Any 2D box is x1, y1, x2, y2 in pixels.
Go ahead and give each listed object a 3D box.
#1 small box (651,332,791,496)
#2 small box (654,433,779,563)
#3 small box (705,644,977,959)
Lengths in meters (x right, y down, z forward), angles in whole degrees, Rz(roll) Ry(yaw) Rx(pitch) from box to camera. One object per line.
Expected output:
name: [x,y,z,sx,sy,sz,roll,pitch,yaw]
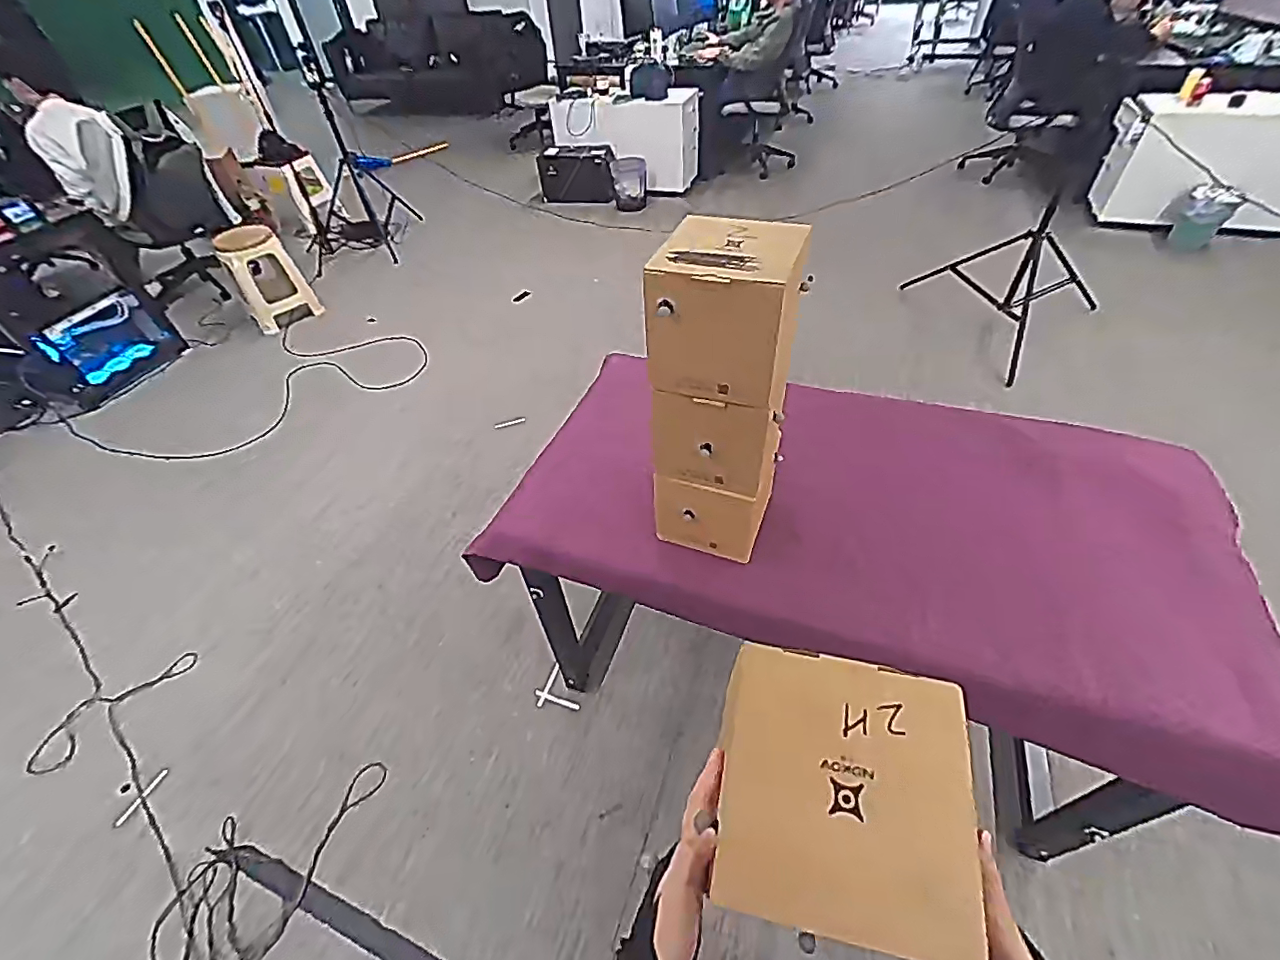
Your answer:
small box: [0.126,-0.101,0.830,0.168,0.176,0.179,13,48,16]
small box: [0.134,0.018,0.943,0.168,0.176,0.179,14,48,17]
small box: [0.148,0.262,0.448,0.168,0.176,0.179,9,56,9]
